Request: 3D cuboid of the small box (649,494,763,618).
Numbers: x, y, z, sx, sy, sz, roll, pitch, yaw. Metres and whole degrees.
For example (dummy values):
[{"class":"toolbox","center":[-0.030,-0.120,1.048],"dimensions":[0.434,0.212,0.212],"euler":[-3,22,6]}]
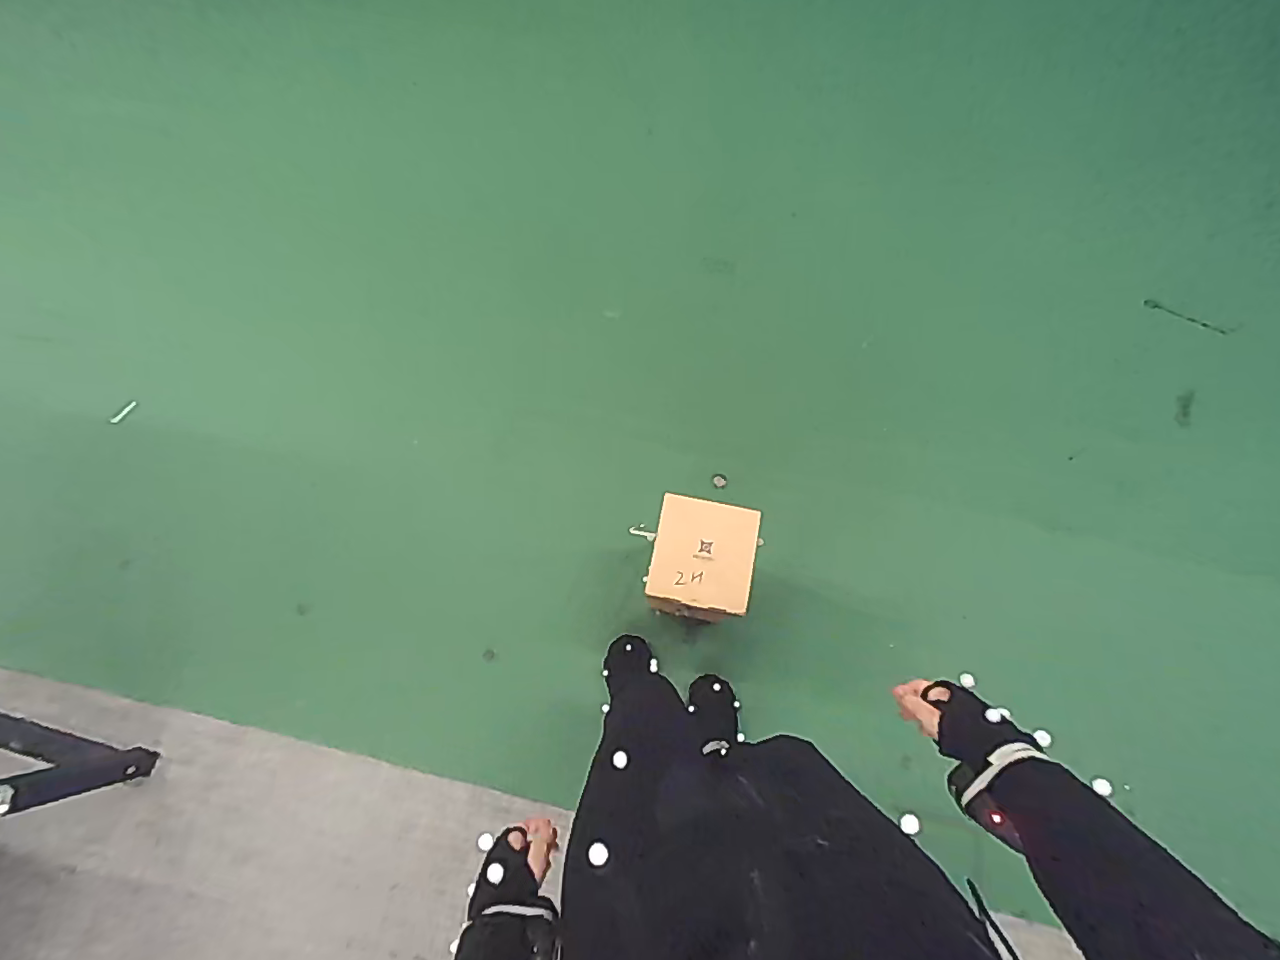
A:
[{"class":"small box","center":[0.112,0.142,0.966],"dimensions":[0.168,0.176,0.179],"euler":[10,75,5]}]
